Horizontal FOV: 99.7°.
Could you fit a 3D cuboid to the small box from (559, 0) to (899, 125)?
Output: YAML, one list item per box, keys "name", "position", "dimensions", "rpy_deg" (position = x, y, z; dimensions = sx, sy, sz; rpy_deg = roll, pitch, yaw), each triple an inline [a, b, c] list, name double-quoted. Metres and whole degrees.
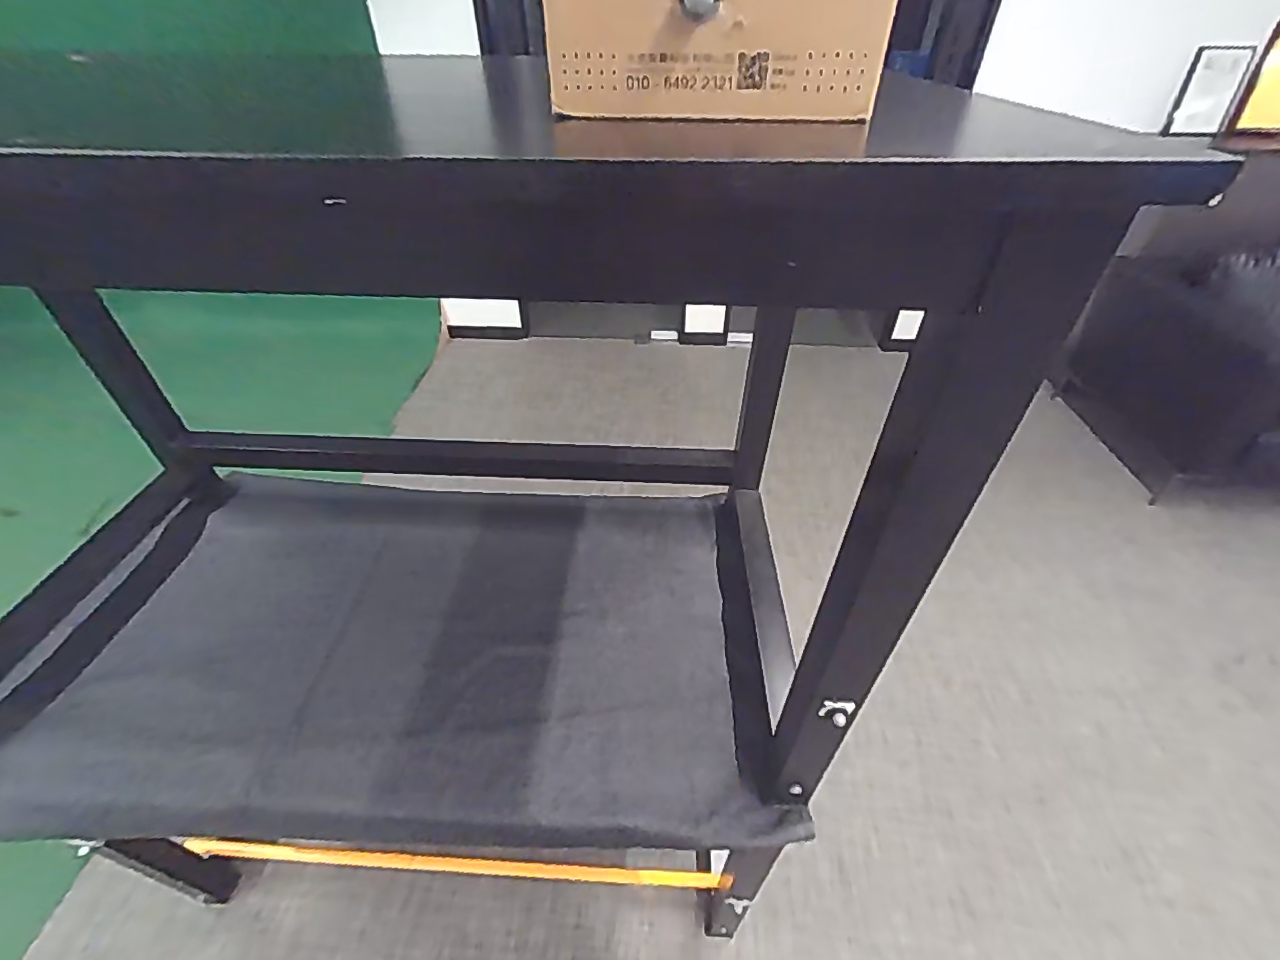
- name: "small box"
  position: [0.050, -0.306, 0.290]
  dimensions: [0.168, 0.176, 0.179]
  rpy_deg: [5, 42, 7]
